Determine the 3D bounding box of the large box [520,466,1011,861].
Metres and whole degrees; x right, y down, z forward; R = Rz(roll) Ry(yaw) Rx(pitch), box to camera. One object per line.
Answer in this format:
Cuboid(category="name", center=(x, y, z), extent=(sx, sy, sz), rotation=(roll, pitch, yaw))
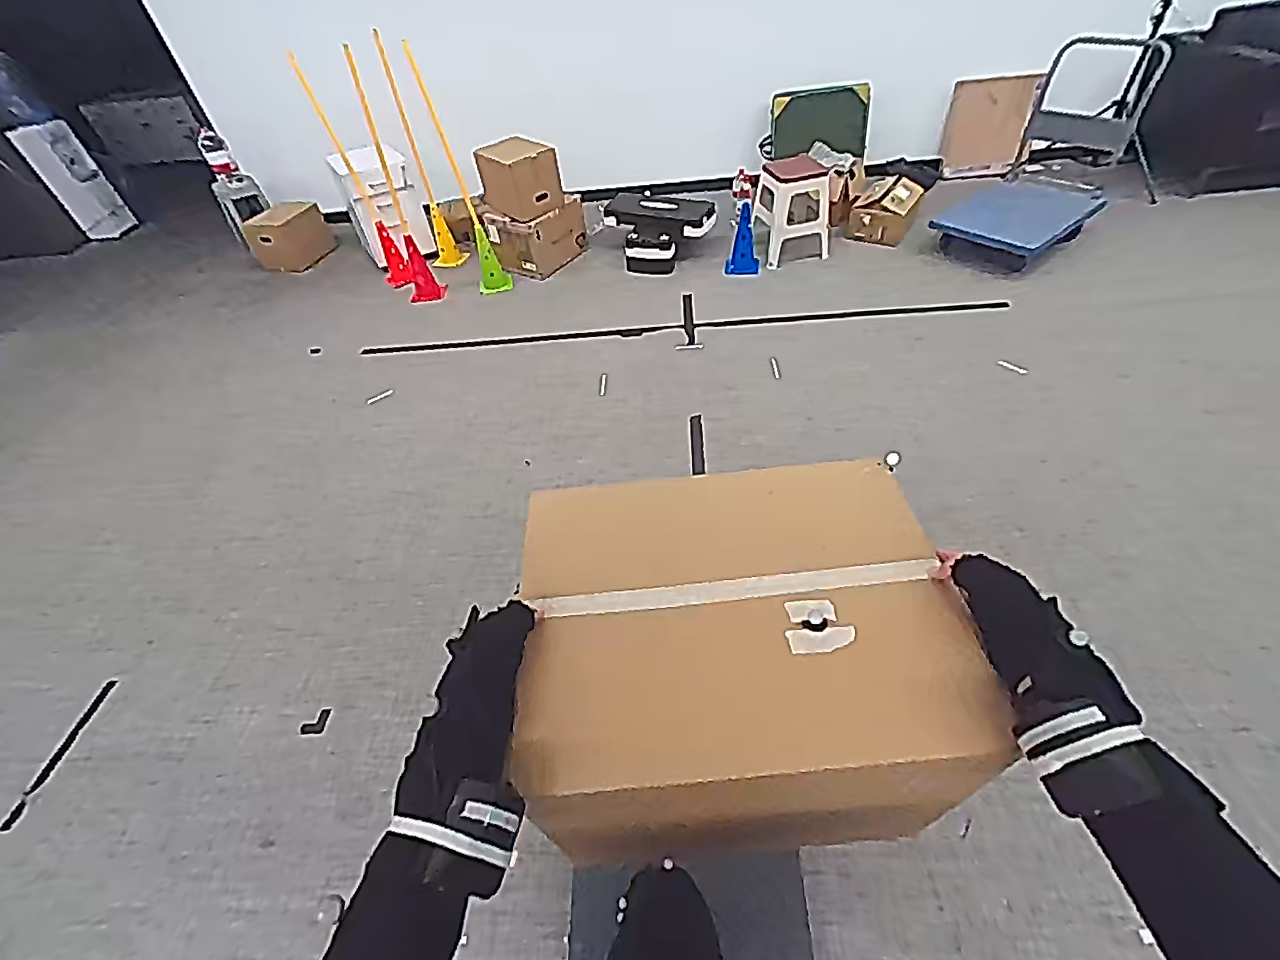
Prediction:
Cuboid(category="large box", center=(0.099, 0.217, 0.636), extent=(0.408, 0.320, 0.320), rotation=(-6, 46, 1))
